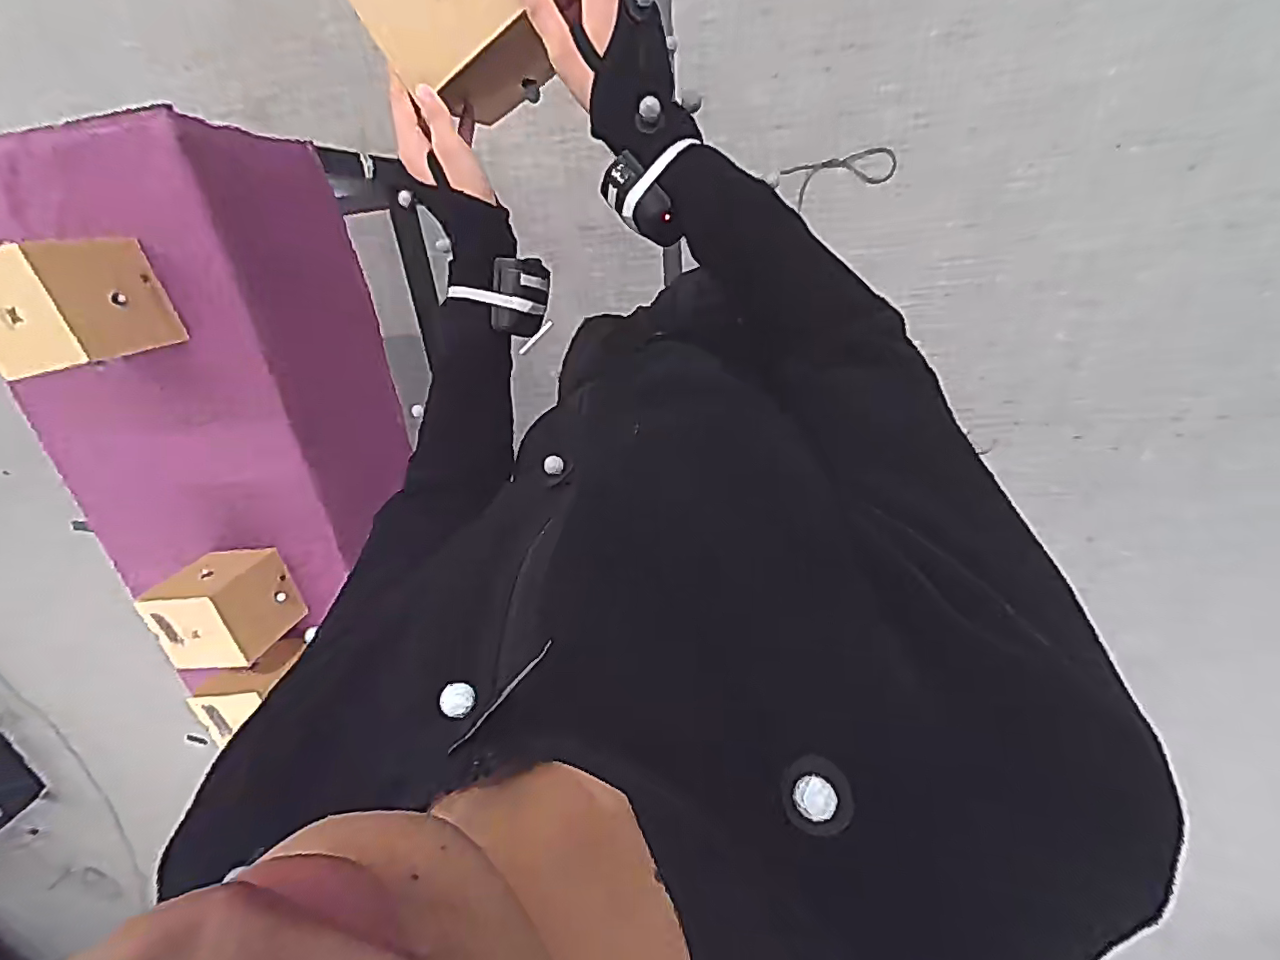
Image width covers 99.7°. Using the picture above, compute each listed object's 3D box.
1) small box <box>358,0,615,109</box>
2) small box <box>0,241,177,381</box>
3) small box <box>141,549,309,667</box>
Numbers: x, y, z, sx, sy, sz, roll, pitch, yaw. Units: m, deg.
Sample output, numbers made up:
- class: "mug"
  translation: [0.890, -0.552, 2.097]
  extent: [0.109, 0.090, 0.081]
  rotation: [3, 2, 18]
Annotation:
- class: "small box"
  translation: [-0.142, -0.446, 0.443]
  extent: [0.168, 0.176, 0.179]
  rotation: [-25, 112, 21]
- class: "small box"
  translation: [-0.886, -0.269, 0.846]
  extent: [0.179, 0.176, 0.168]
  rotation: [-7, 114, 15]
- class: "small box"
  translation: [-0.824, 0.254, 1.093]
  extent: [0.179, 0.176, 0.168]
  rotation: [-5, 115, 13]
